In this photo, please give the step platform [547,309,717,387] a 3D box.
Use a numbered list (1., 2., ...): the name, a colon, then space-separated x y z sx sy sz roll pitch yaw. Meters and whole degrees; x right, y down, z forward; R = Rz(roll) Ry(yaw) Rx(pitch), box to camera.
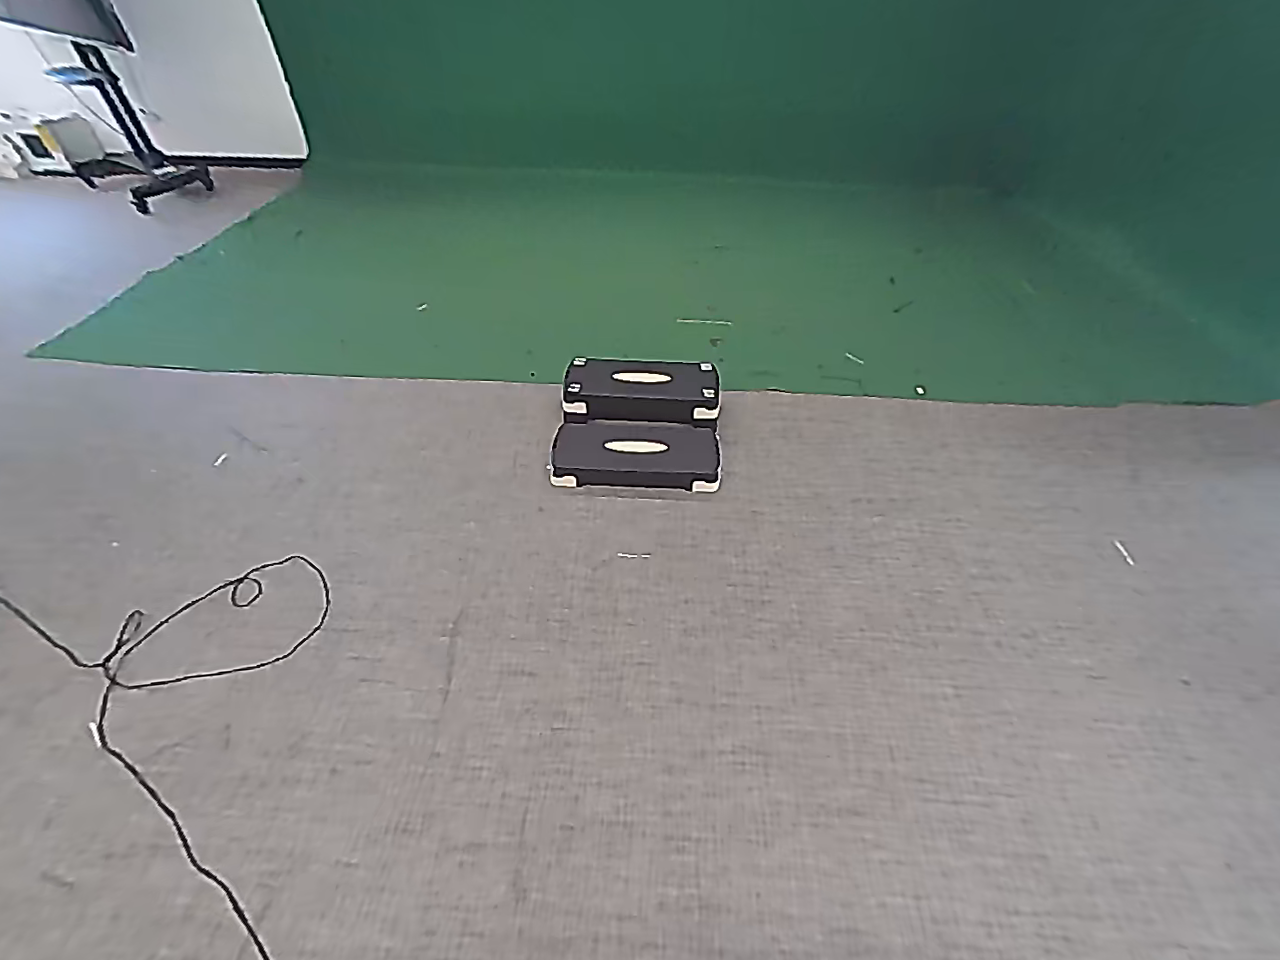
1. step platform: -0.032 -0.548 2.248 0.684 0.204 0.286 2 46 1
